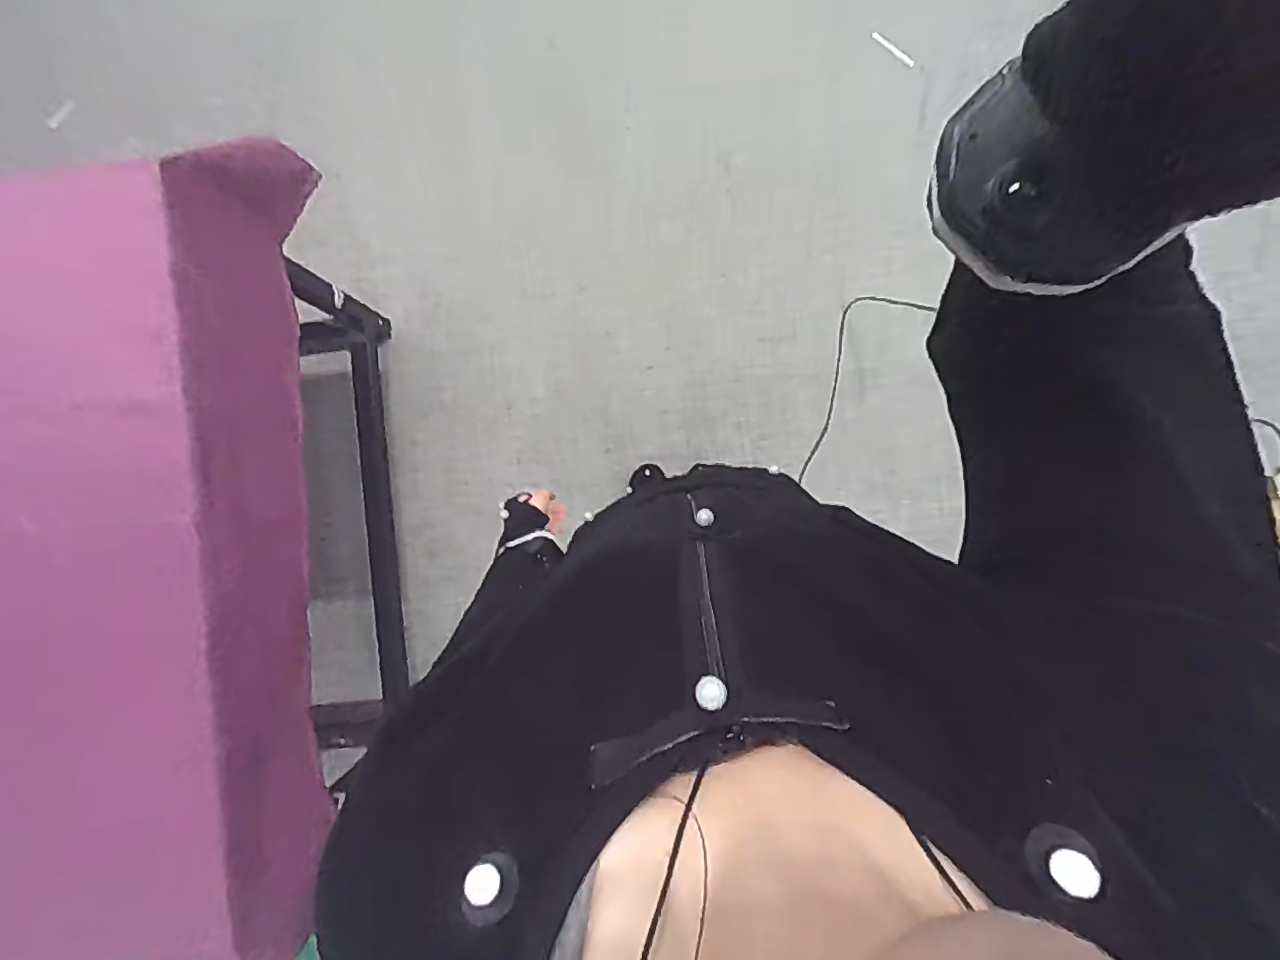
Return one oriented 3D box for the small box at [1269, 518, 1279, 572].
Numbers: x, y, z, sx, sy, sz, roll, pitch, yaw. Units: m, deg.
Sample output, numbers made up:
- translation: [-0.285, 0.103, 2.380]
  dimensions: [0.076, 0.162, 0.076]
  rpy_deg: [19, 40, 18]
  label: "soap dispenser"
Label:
- translation: [1.349, 0.148, 0.999]
  dimensions: [0.168, 0.176, 0.179]
  rpy_deg: [-13, 88, 5]
  label: "small box"
